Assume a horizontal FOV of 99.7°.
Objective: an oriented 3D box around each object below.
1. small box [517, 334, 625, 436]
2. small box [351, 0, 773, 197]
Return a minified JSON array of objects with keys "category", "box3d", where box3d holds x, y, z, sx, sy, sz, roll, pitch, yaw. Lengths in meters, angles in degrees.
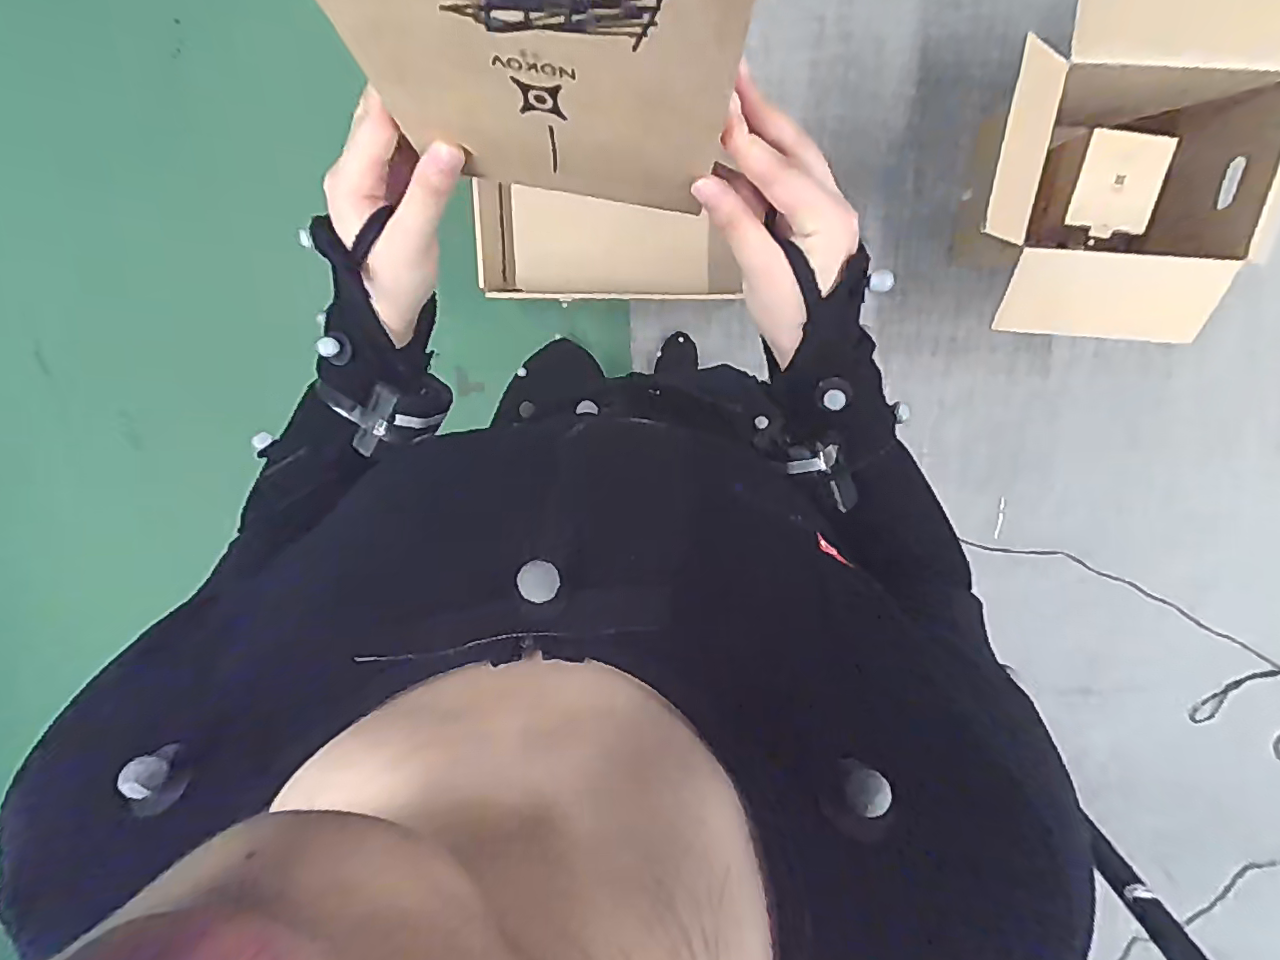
[{"category":"small box","box3d":[-0.161,-0.227,1.320,0.176,0.168,0.179,36,74,-33]},{"category":"small box","box3d":[-0.024,-0.260,0.232,0.168,0.179,0.176,9,90,-2]}]
